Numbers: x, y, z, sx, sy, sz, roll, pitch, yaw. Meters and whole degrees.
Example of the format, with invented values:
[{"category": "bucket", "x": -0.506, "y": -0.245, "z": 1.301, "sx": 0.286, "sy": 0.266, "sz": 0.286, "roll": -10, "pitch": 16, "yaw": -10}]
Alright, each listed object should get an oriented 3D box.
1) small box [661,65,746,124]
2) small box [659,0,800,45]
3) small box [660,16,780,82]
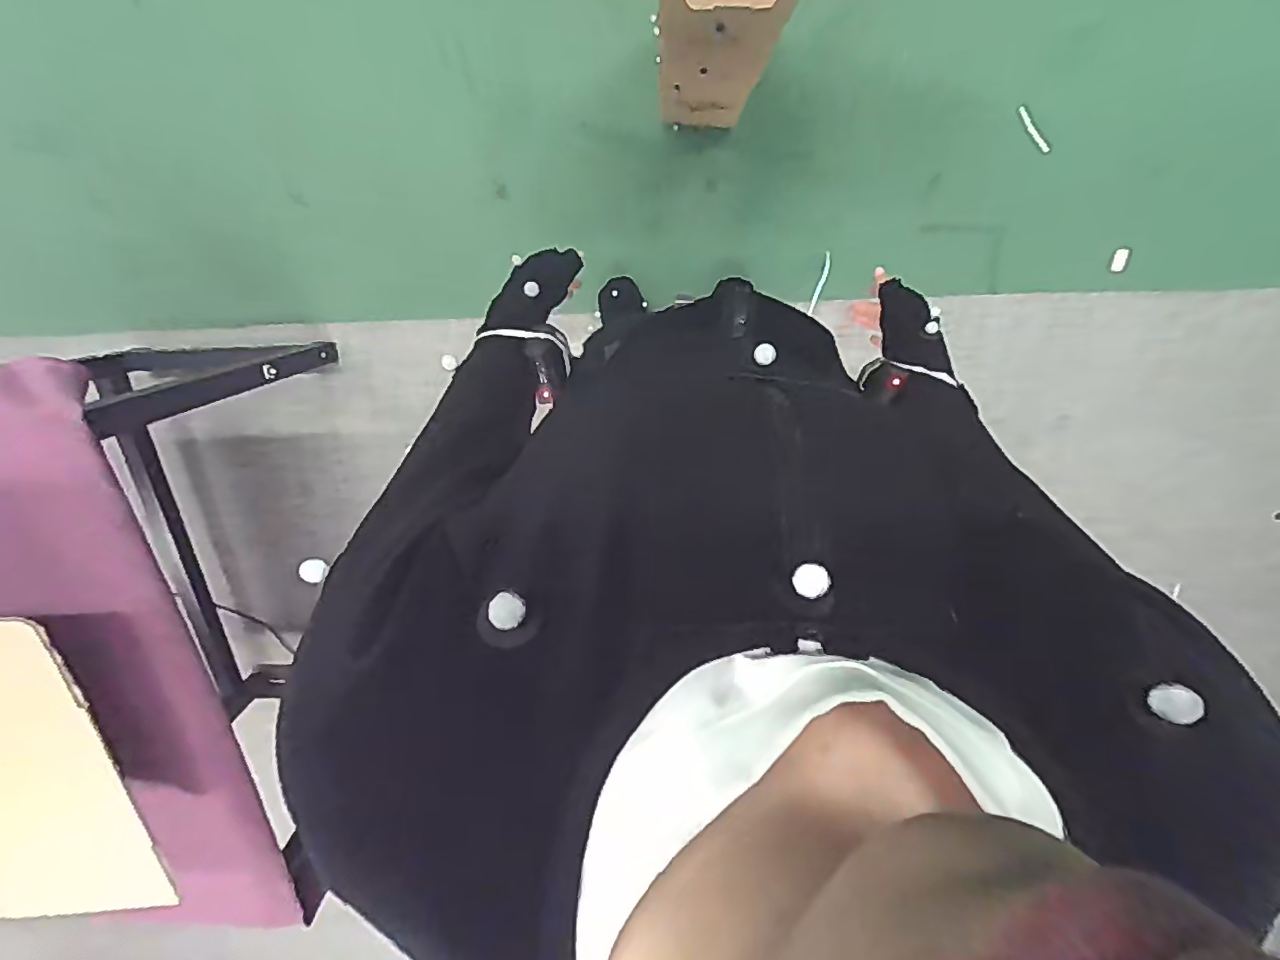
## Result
[{"category": "small box", "x": 0.127, "y": -0.837, "z": 1.097, "sx": 0.168, "sy": 0.176, "sz": 0.179, "roll": 0, "pitch": 114, "yaw": 3}, {"category": "small box", "x": 0.108, "y": -0.654, "z": 0.640, "sx": 0.168, "sy": 0.176, "sz": 0.179, "roll": 1, "pitch": 113, "yaw": 2}, {"category": "small box", "x": 0.114, "y": -0.715, "z": 0.793, "sx": 0.168, "sy": 0.176, "sz": 0.179, "roll": 1, "pitch": 112, "yaw": 2}]
